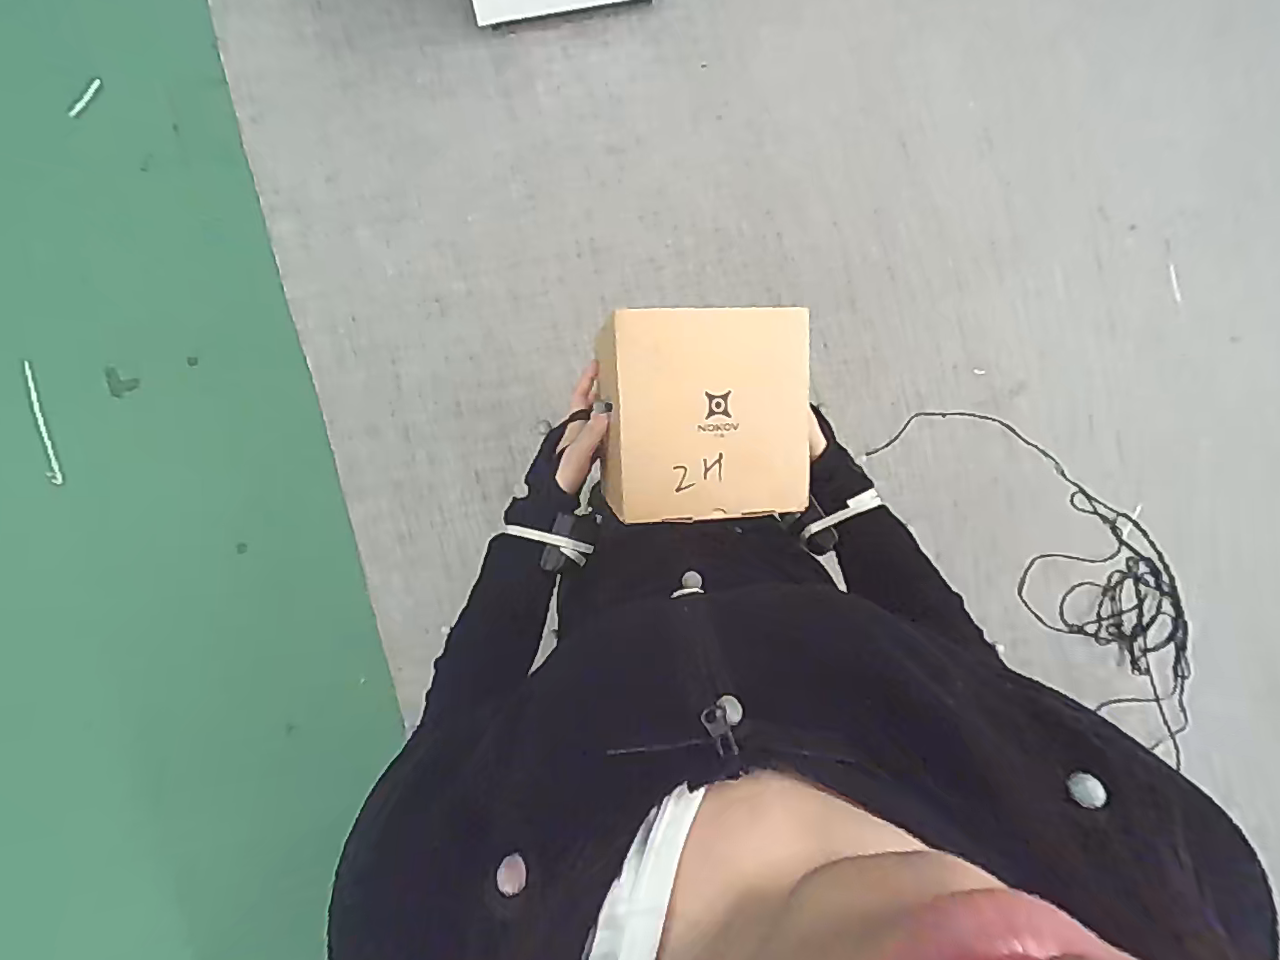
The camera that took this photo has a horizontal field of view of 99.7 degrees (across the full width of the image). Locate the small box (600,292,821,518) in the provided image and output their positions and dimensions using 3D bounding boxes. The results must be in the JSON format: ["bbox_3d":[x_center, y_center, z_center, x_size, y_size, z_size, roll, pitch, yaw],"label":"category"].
[{"bbox_3d":[0.052,-0.066,0.507,0.168,0.176,0.179,-3,96,-9],"label":"small box"}]
